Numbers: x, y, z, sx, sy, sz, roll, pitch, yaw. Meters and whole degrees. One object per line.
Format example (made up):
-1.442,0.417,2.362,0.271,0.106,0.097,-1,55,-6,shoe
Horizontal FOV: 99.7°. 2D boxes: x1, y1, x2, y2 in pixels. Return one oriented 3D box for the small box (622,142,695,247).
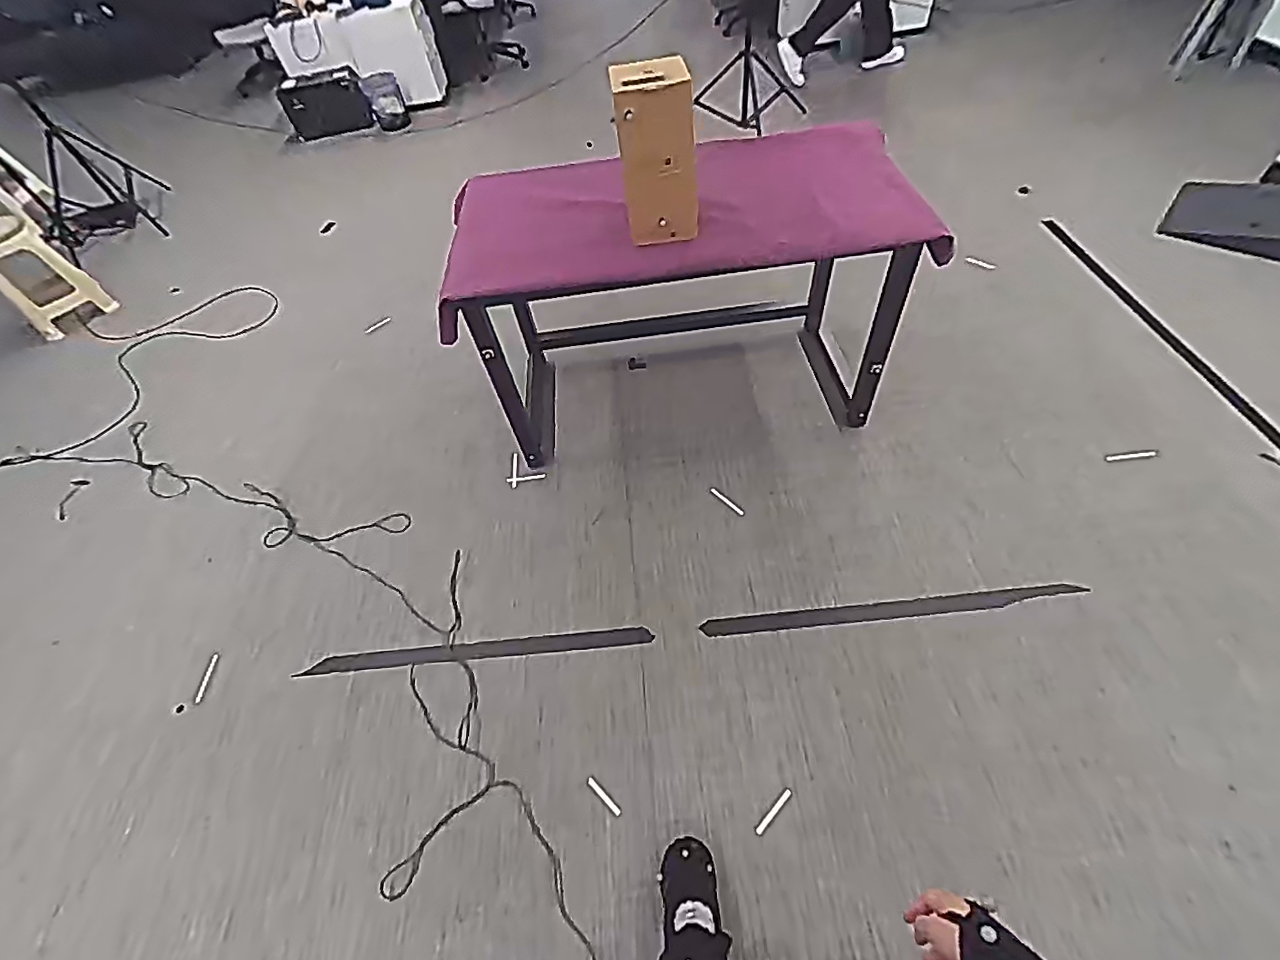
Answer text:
0.046,-0.708,1.345,0.168,0.176,0.179,-6,52,4,small box
